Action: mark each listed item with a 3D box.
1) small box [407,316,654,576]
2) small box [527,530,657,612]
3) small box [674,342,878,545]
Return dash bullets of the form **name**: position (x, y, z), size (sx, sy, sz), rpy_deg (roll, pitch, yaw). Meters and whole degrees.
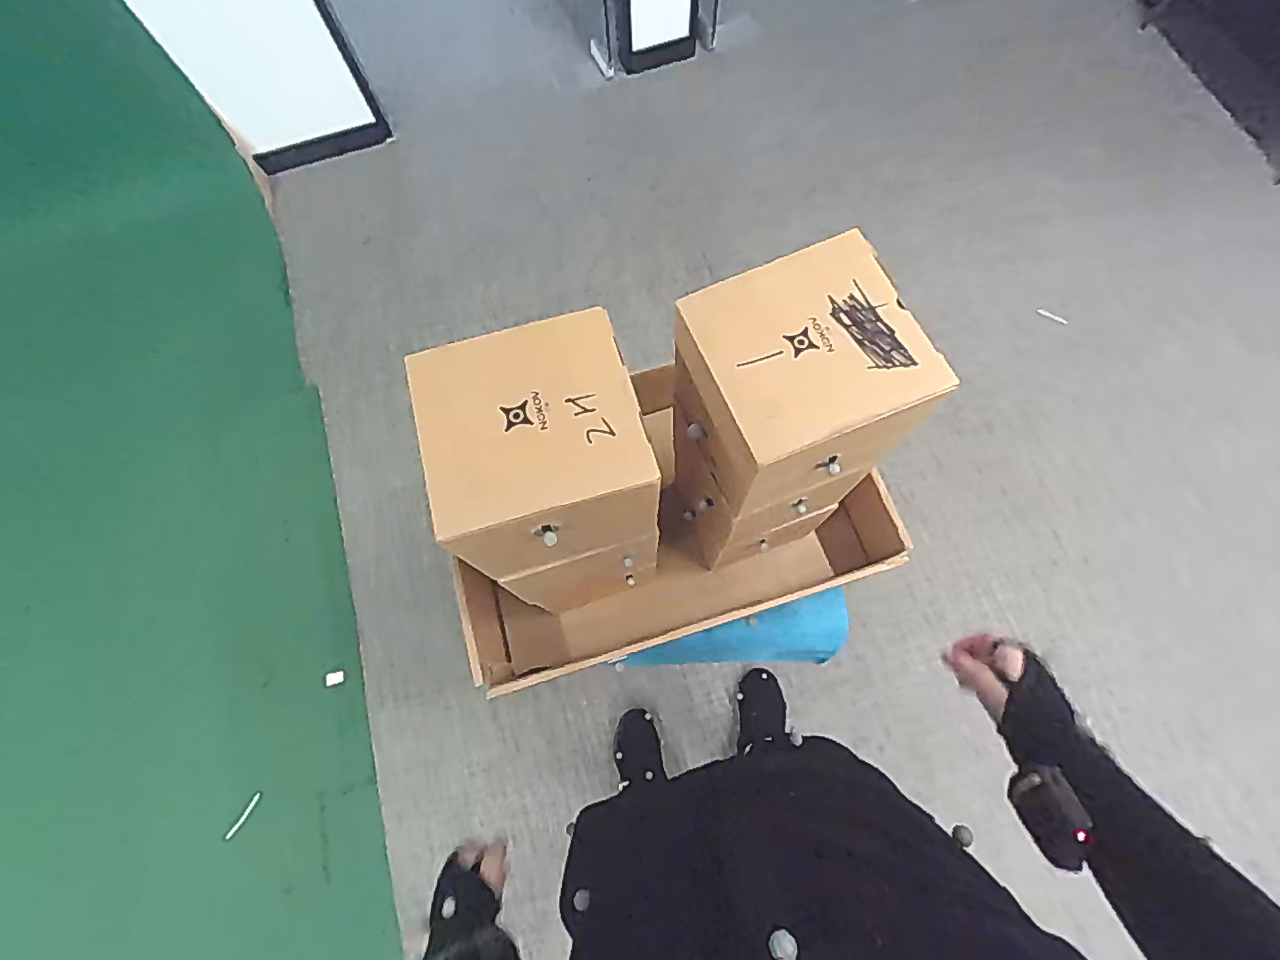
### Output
- **small box**: position (-0.089, -0.019, 0.508), size (0.179, 0.176, 0.168), rpy_deg (-16, 71, -4)
- **small box**: position (-0.078, 0.091, 0.818), size (0.179, 0.176, 0.168), rpy_deg (-18, 71, -5)
- **small box**: position (0.153, -0.034, 0.671), size (0.179, 0.176, 0.168), rpy_deg (-22, 72, -3)
